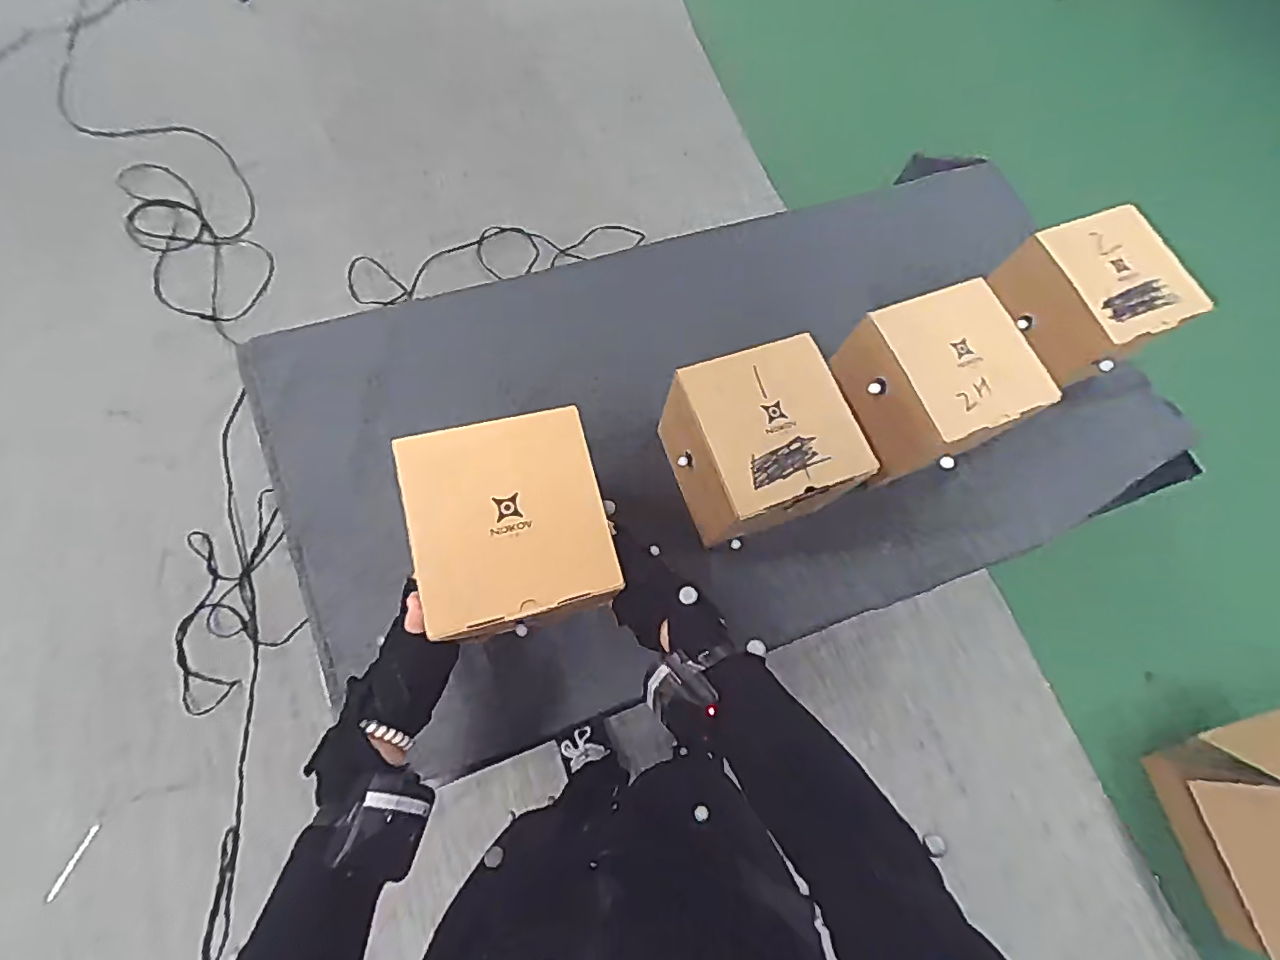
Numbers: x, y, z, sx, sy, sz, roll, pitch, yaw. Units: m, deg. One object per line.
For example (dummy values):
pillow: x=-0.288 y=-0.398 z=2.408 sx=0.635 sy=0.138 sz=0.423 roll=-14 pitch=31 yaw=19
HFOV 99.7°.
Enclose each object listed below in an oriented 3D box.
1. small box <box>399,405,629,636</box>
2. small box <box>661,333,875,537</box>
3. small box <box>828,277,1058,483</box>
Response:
small box: x=-0.124 y=0.049 z=0.537 sx=0.168 sy=0.176 sz=0.179 roll=-13 pitch=78 yaw=-15
small box: x=0.136 y=-0.040 z=0.646 sx=0.168 sy=0.176 sz=0.179 roll=-18 pitch=74 yaw=-11
small box: x=0.360 y=-0.120 z=0.693 sx=0.168 sy=0.176 sz=0.179 roll=-20 pitch=75 yaw=-11
